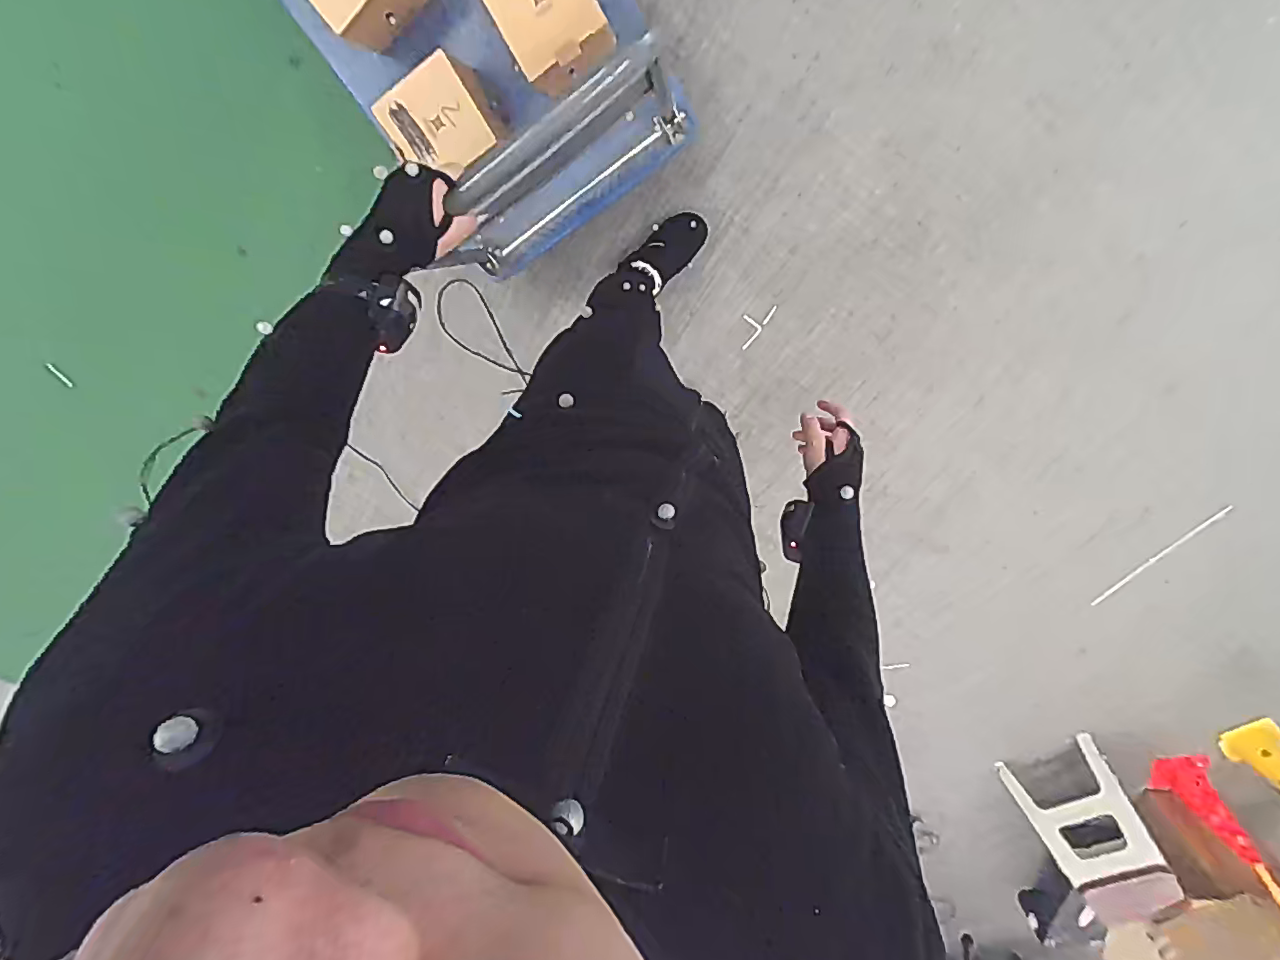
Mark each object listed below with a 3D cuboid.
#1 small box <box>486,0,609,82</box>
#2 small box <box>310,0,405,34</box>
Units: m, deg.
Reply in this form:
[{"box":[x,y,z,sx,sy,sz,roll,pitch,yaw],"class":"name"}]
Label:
[{"box":[-0.171,-0.851,0.958,0.168,0.176,0.179,-27,116,17],"class":"small box"},{"box":[-0.513,-0.920,0.934,0.168,0.176,0.179,-33,113,19],"class":"small box"}]
